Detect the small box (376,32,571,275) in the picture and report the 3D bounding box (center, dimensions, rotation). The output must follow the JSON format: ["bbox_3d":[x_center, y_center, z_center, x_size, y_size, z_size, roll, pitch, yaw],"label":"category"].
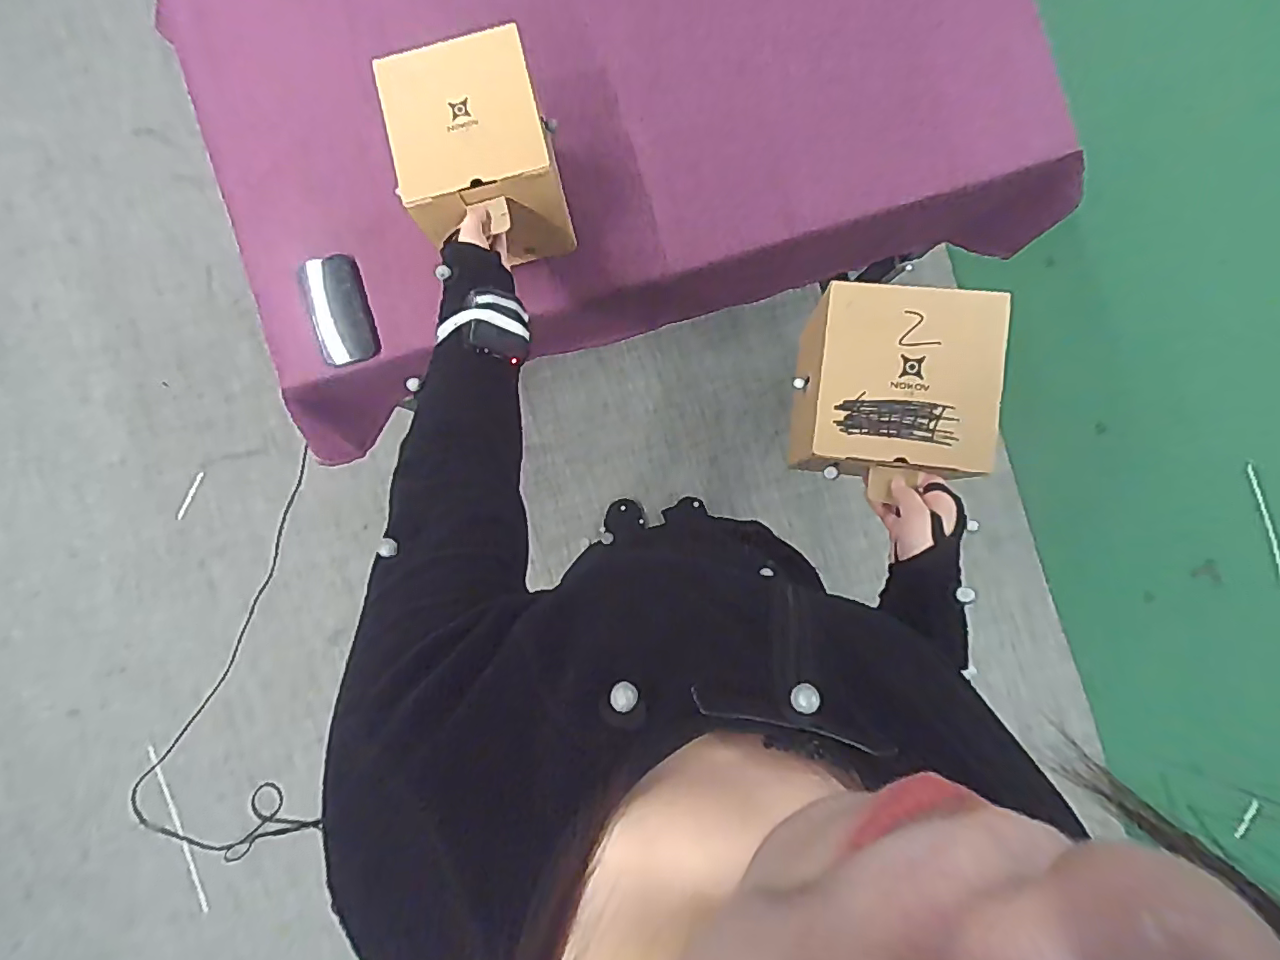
[{"bbox_3d":[-0.192,-0.386,0.667,0.168,0.176,0.179,-14,85,1],"label":"small box"}]
